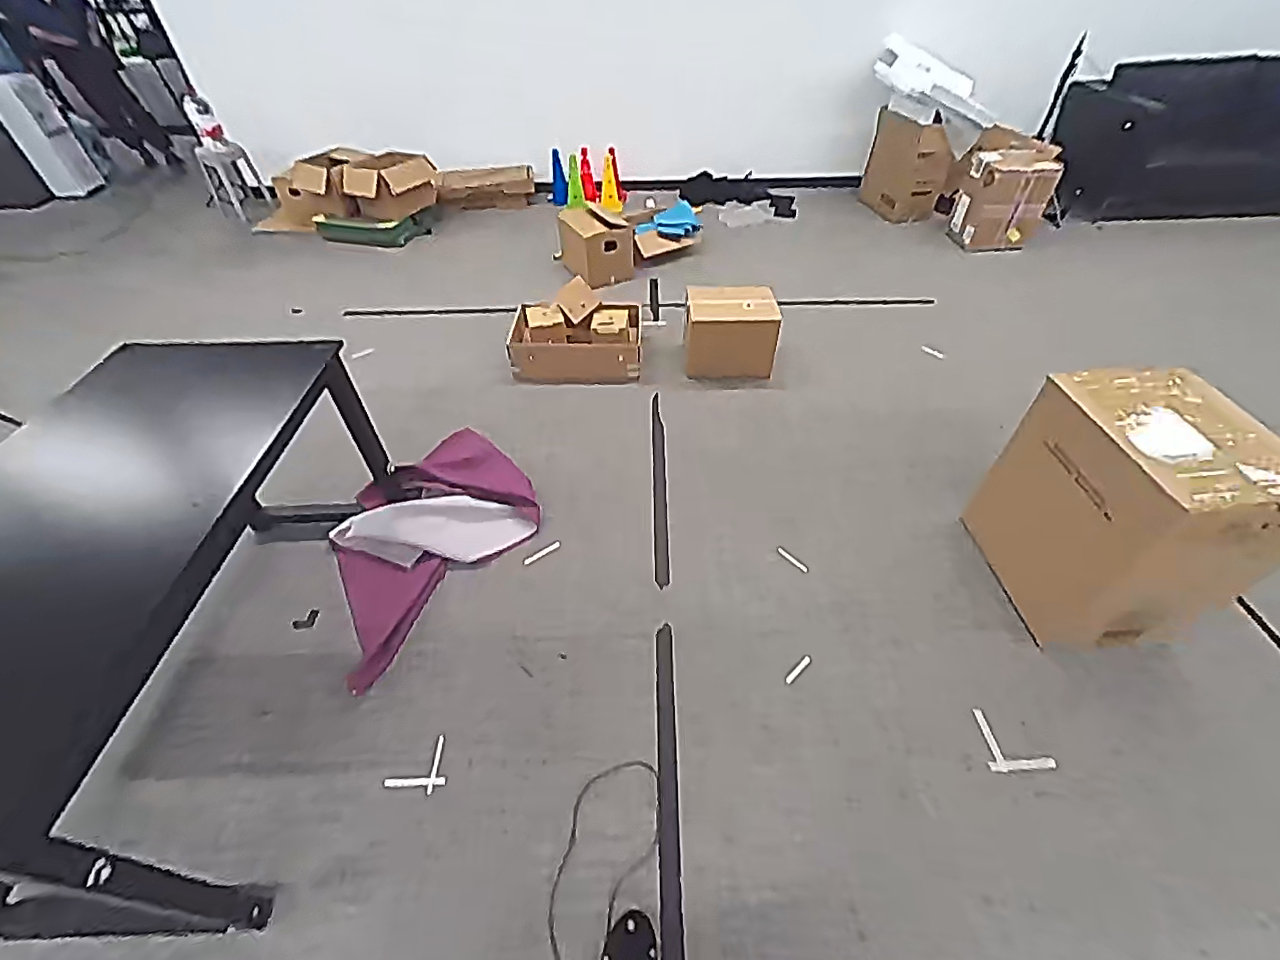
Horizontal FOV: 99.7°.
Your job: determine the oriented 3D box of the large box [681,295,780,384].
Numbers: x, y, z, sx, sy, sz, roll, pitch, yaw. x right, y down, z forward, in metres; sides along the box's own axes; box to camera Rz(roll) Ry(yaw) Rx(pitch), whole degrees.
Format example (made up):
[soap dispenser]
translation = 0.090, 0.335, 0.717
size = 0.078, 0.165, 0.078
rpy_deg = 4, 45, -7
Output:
[large box]
translation = 0.416, -0.676, 2.598
size = 0.408, 0.320, 0.320
rpy_deg = -1, 46, -1
